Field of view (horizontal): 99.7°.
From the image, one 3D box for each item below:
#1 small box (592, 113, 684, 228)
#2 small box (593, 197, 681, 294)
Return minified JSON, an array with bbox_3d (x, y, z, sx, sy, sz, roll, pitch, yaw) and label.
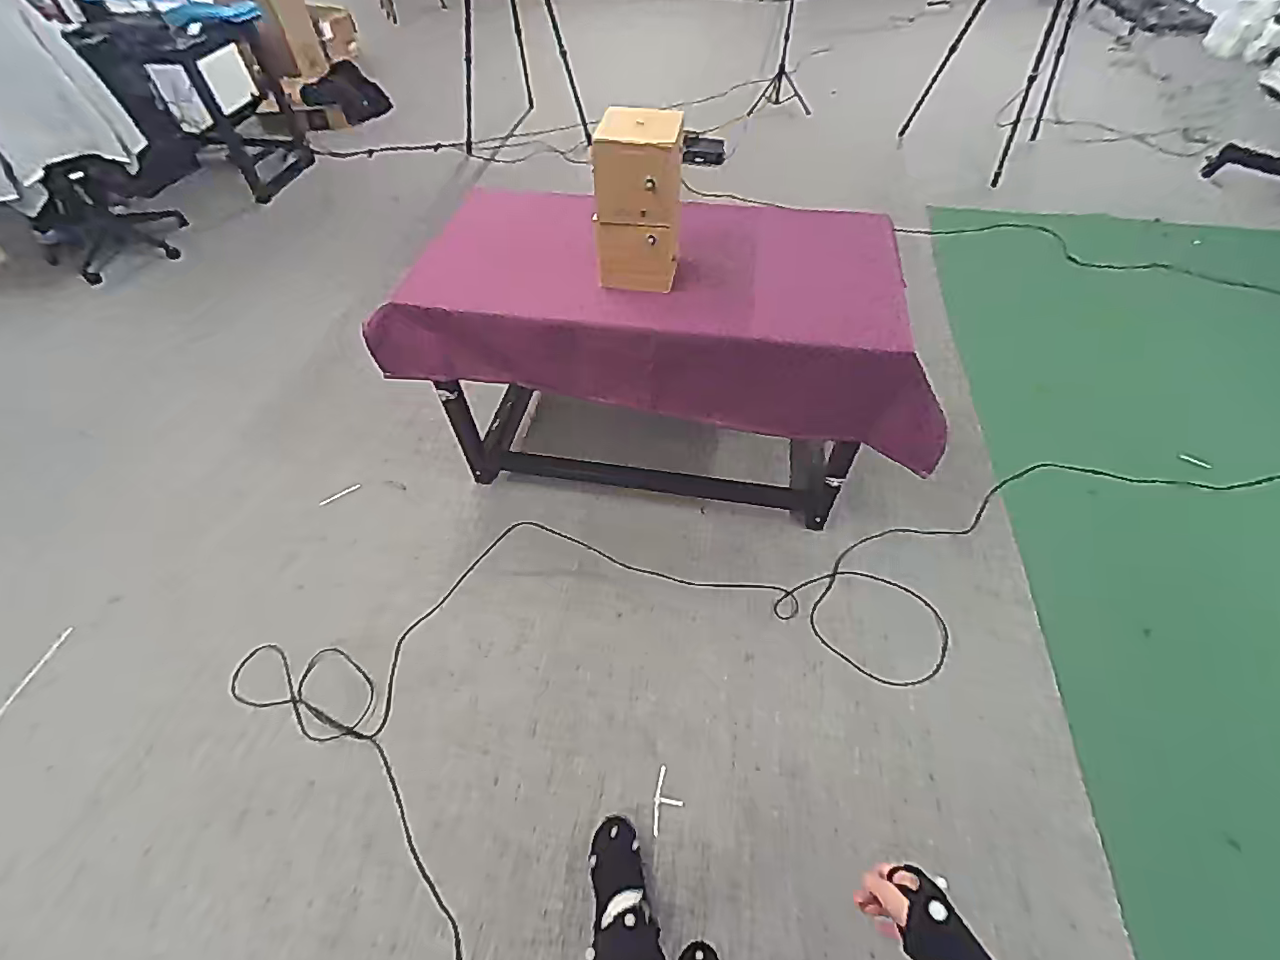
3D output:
[{"bbox_3d":[0.000,-0.668,1.173,0.168,0.176,0.179,8,51,6],"label":"small box"},{"bbox_3d":[-0.003,-0.569,1.301,0.179,0.176,0.168,8,52,7],"label":"small box"}]
